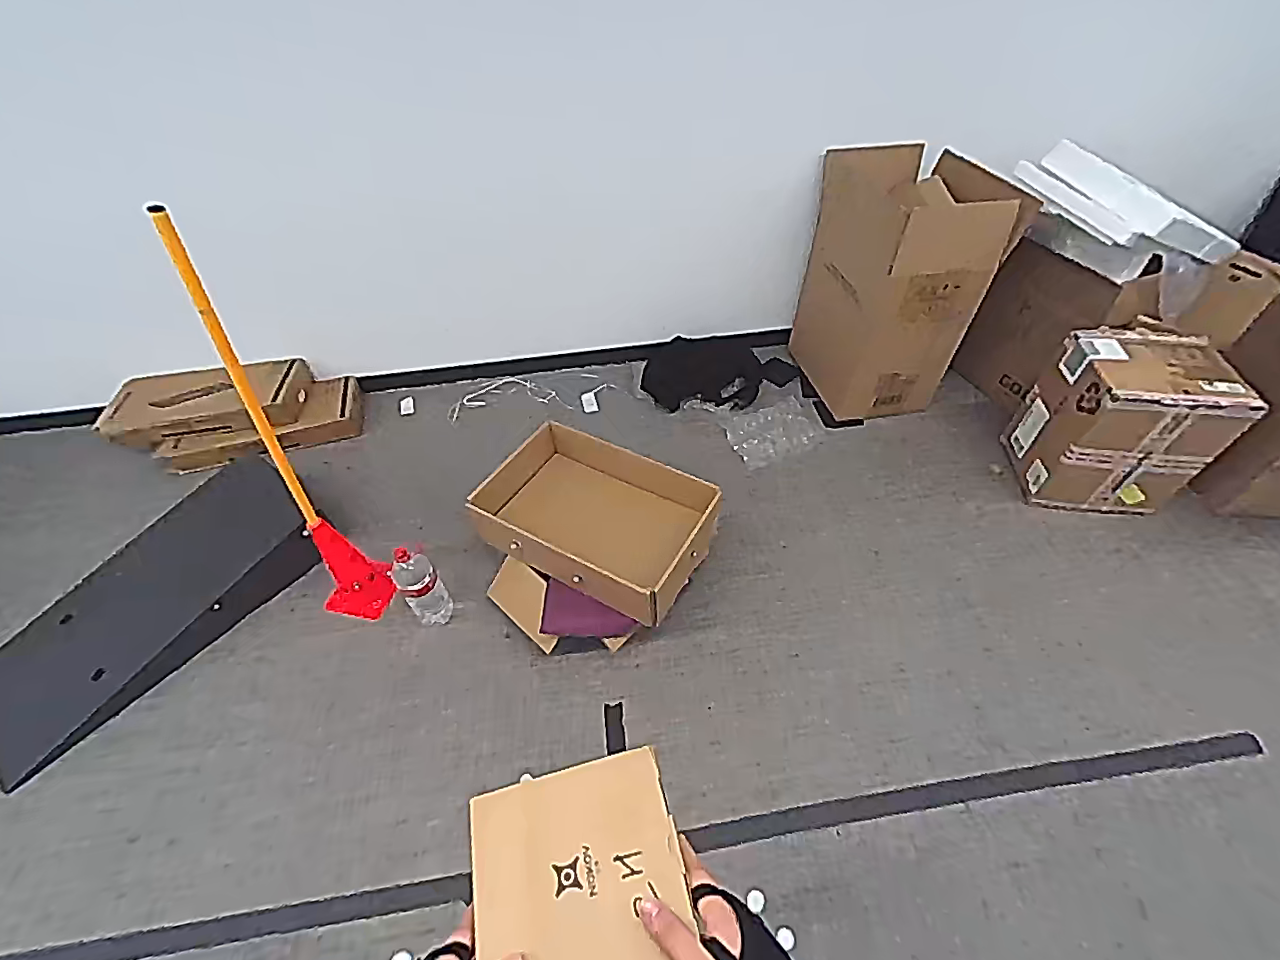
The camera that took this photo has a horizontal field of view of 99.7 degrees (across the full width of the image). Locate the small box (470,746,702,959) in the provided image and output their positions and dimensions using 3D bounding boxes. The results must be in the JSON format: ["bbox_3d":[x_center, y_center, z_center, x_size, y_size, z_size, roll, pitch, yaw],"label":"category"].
[{"bbox_3d":[-0.047,0.382,0.510,0.179,0.176,0.168,-13,49,-7],"label":"small box"}]
